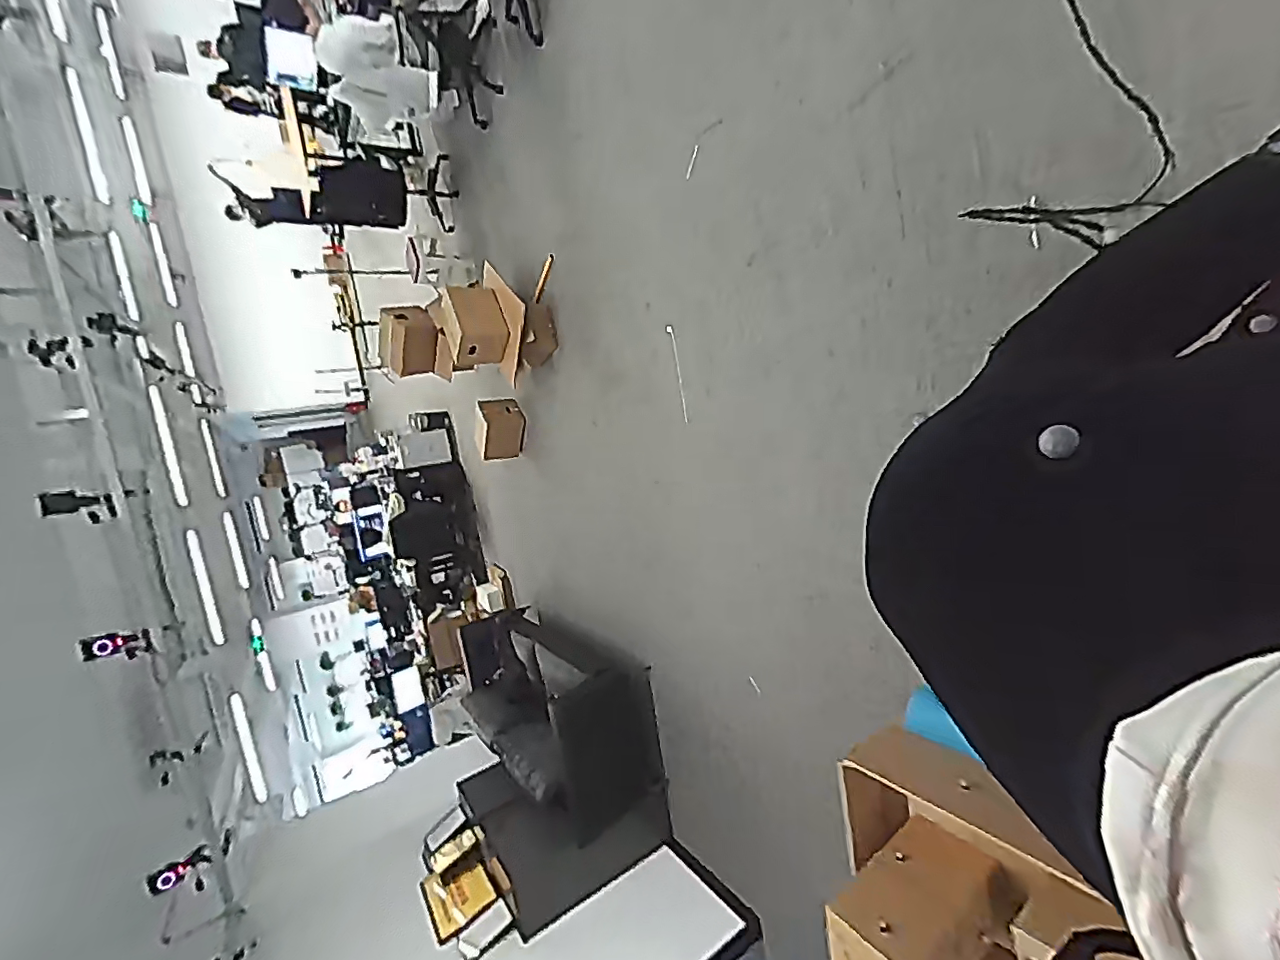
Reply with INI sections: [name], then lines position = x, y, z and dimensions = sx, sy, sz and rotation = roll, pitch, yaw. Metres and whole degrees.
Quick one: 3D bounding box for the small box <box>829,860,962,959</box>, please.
[small box]
position = 0.491, 0.885, 1.034
dimensions = 0.179, 0.176, 0.168
rotation = 8, 109, 56
